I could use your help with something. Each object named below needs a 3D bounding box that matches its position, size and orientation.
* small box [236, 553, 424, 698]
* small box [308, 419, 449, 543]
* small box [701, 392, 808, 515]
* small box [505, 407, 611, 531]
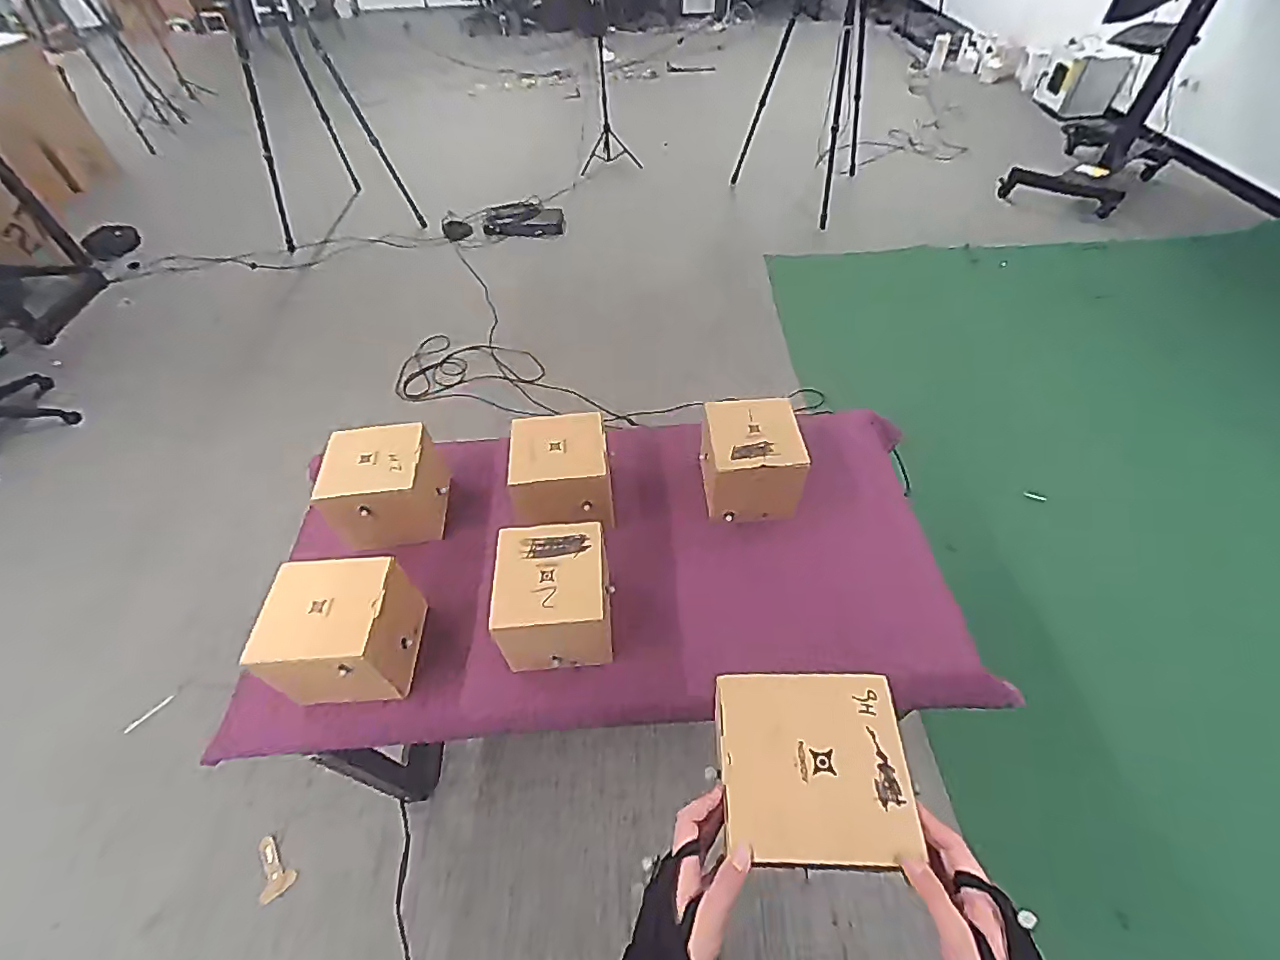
[{"bbox_3d":[-0.468,0.232,0.851,0.179,0.176,0.168,-3,50,-1],"label":"small box"},{"bbox_3d":[-0.485,0.006,1.033,0.179,0.176,0.168,-6,52,-3],"label":"small box"},{"bbox_3d":[0.210,-0.045,1.039,0.168,0.176,0.179,-4,51,0],"label":"small box"},{"bbox_3d":[-0.148,-0.018,1.039,0.179,0.176,0.168,-6,51,-1],"label":"small box"}]
